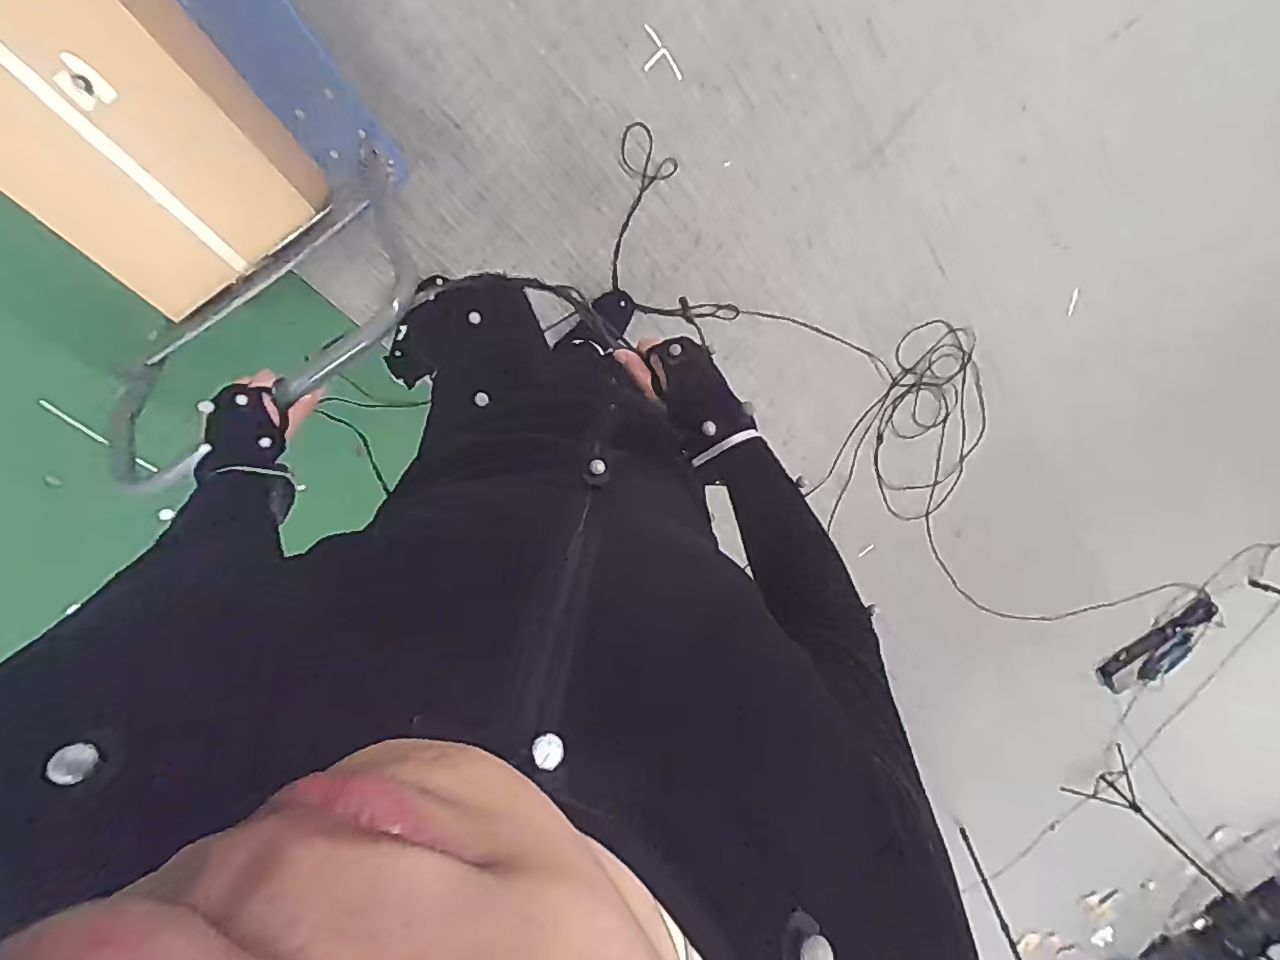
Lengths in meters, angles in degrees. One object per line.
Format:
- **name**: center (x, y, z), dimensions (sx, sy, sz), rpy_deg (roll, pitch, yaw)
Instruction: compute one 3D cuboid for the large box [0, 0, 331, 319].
- **large box**: center (-0.801, -0.555, 0.888), dimensions (0.320, 0.320, 0.408), rpy_deg (-36, 132, 4)
